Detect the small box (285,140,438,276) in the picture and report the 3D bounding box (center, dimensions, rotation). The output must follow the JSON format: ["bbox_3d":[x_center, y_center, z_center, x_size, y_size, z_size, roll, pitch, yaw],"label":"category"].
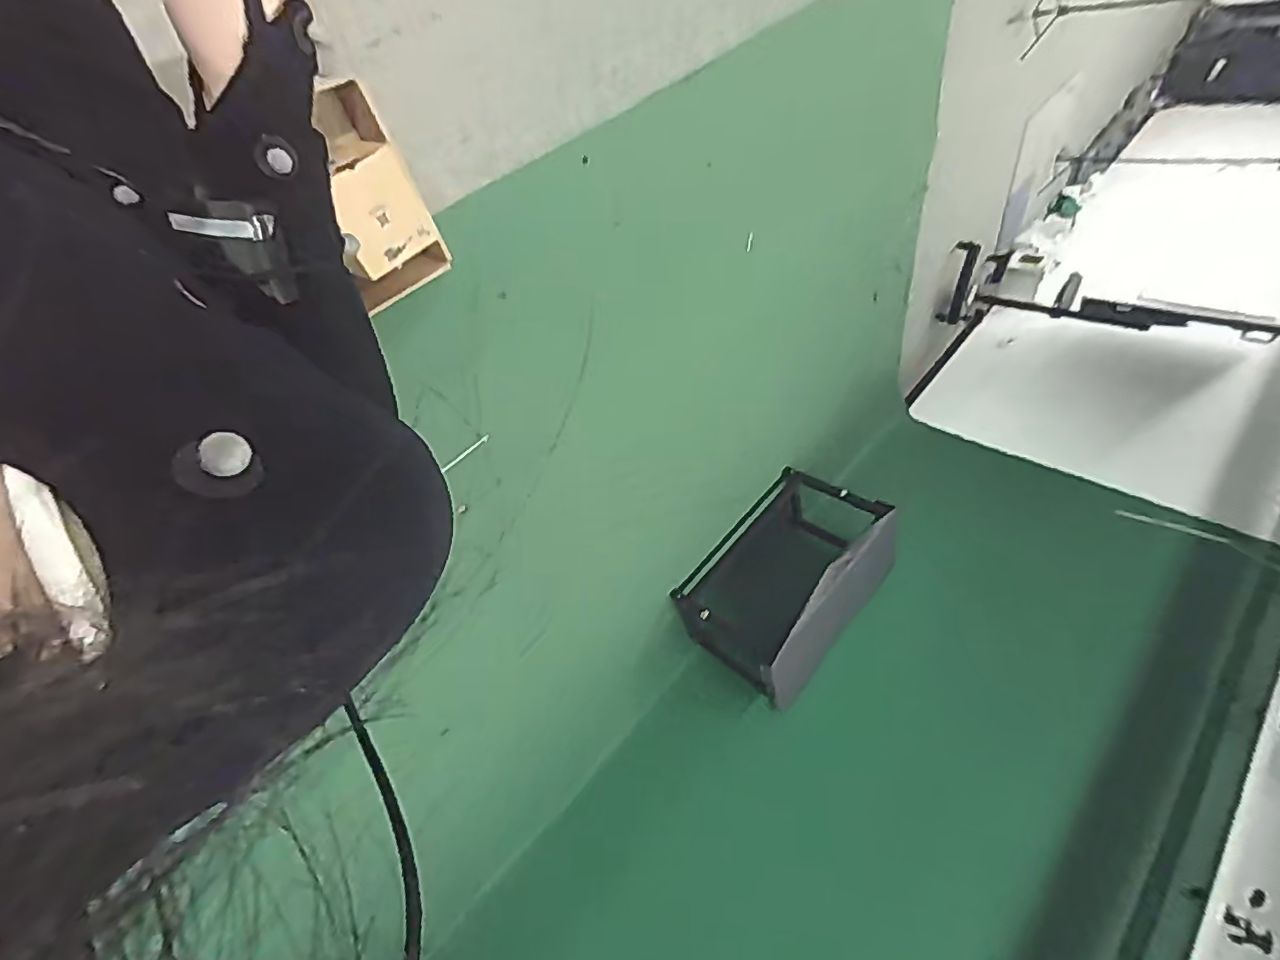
[{"bbox_3d":[-0.532,-0.520,1.034,0.168,0.176,0.179,-45,140,-20],"label":"small box"}]
